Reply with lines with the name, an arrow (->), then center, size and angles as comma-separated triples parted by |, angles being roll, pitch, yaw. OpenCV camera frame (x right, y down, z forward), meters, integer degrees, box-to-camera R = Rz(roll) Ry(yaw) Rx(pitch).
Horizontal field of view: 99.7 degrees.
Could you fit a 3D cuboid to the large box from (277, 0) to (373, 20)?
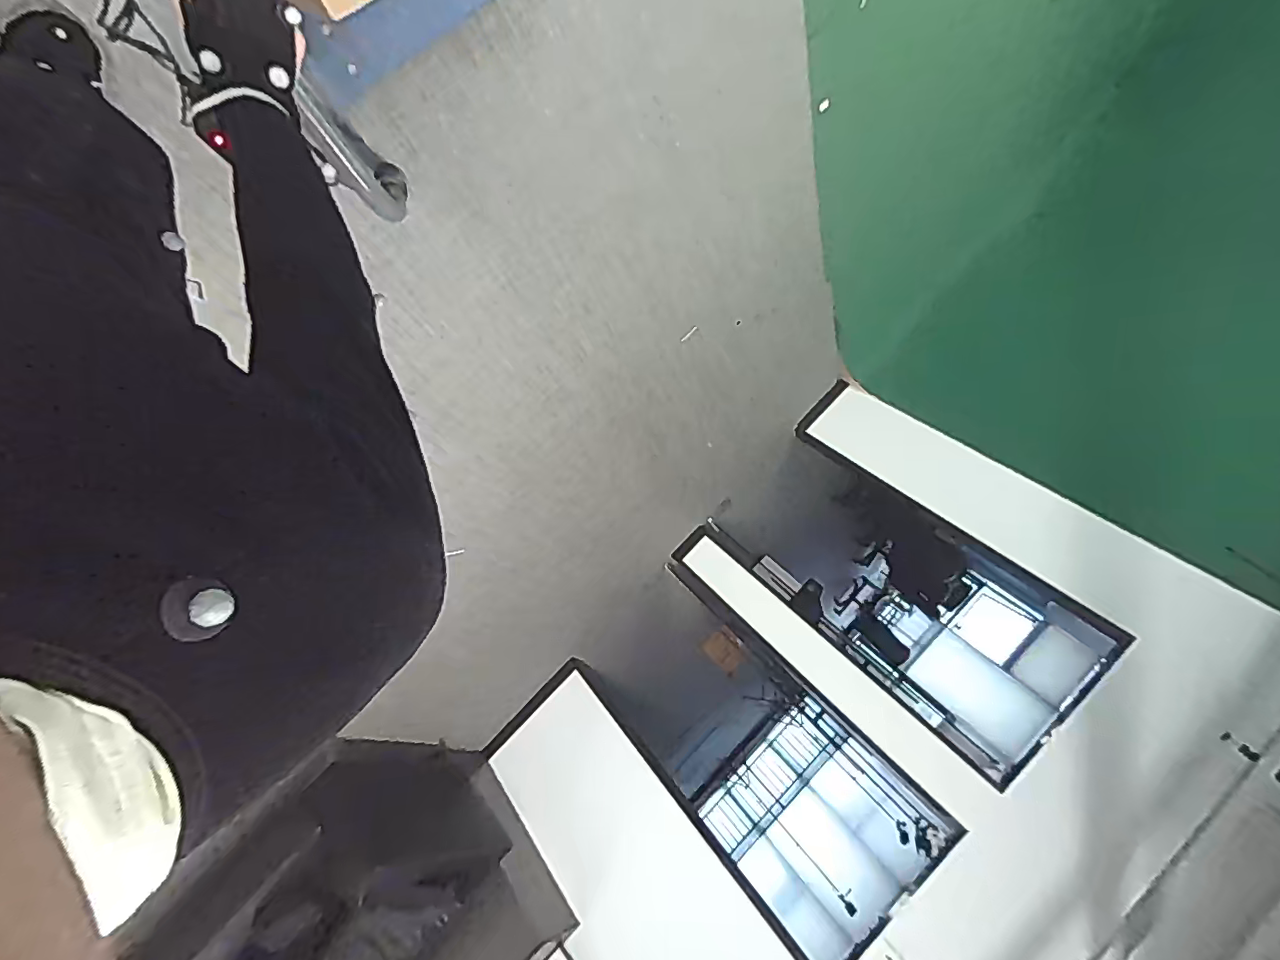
large box -> -0.455, -0.977, 0.803 | 0.408, 0.320, 0.320 | -43, 147, -10
